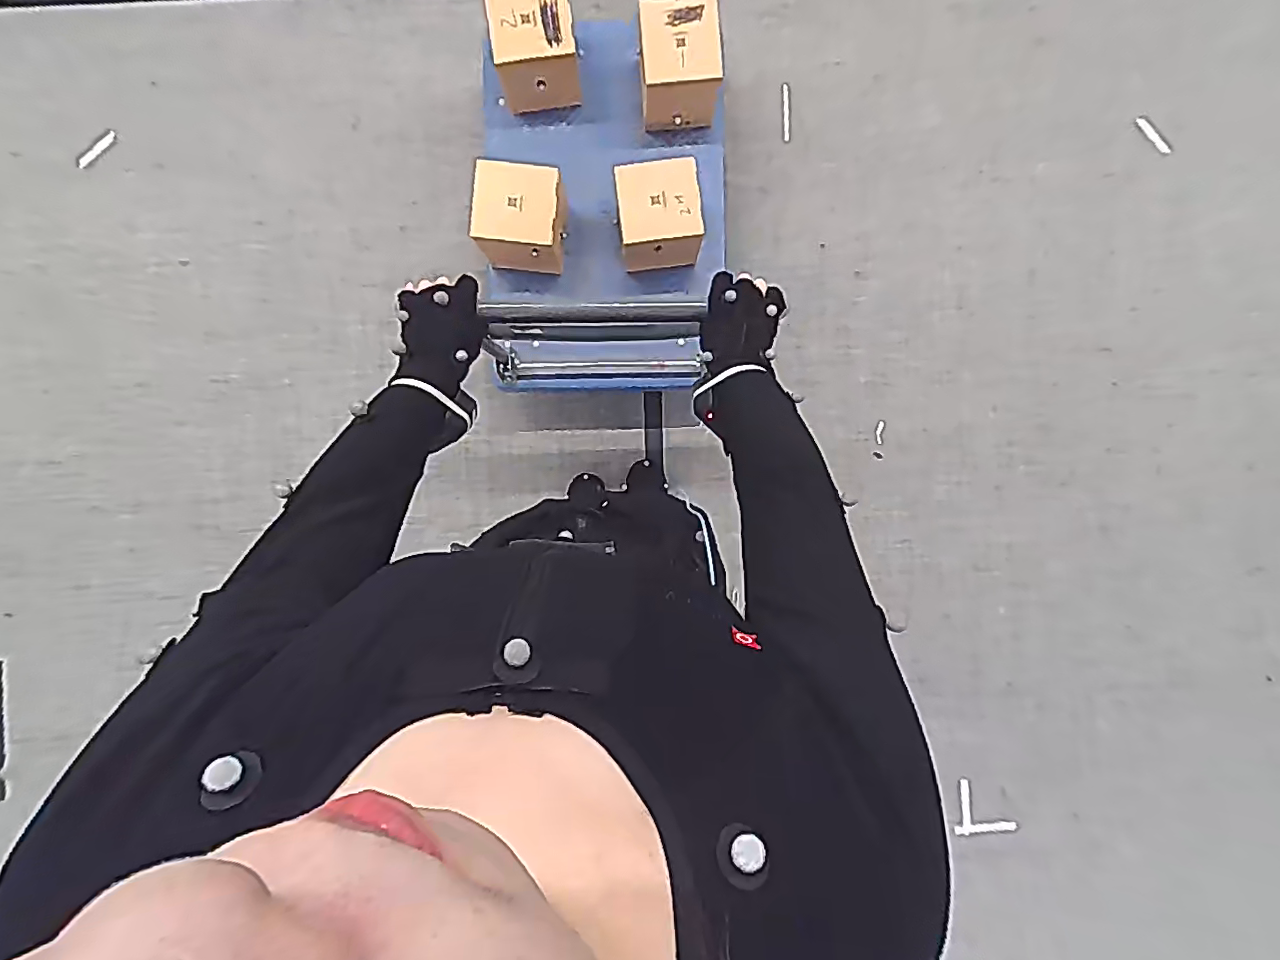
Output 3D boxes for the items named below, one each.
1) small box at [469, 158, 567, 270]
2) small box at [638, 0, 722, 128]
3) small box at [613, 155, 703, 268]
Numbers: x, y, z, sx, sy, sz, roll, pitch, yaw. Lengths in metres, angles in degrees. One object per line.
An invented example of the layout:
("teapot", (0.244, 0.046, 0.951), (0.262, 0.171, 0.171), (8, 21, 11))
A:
("small box", (-0.266, -0.584, 1.209), (0.179, 0.176, 0.168), (5, 91, -2))
("small box", (0.083, -0.925, 1.200), (0.168, 0.176, 0.179), (-5, 93, 0))
("small box", (0.038, -0.591, 1.211), (0.179, 0.176, 0.168), (-7, 92, 0))
